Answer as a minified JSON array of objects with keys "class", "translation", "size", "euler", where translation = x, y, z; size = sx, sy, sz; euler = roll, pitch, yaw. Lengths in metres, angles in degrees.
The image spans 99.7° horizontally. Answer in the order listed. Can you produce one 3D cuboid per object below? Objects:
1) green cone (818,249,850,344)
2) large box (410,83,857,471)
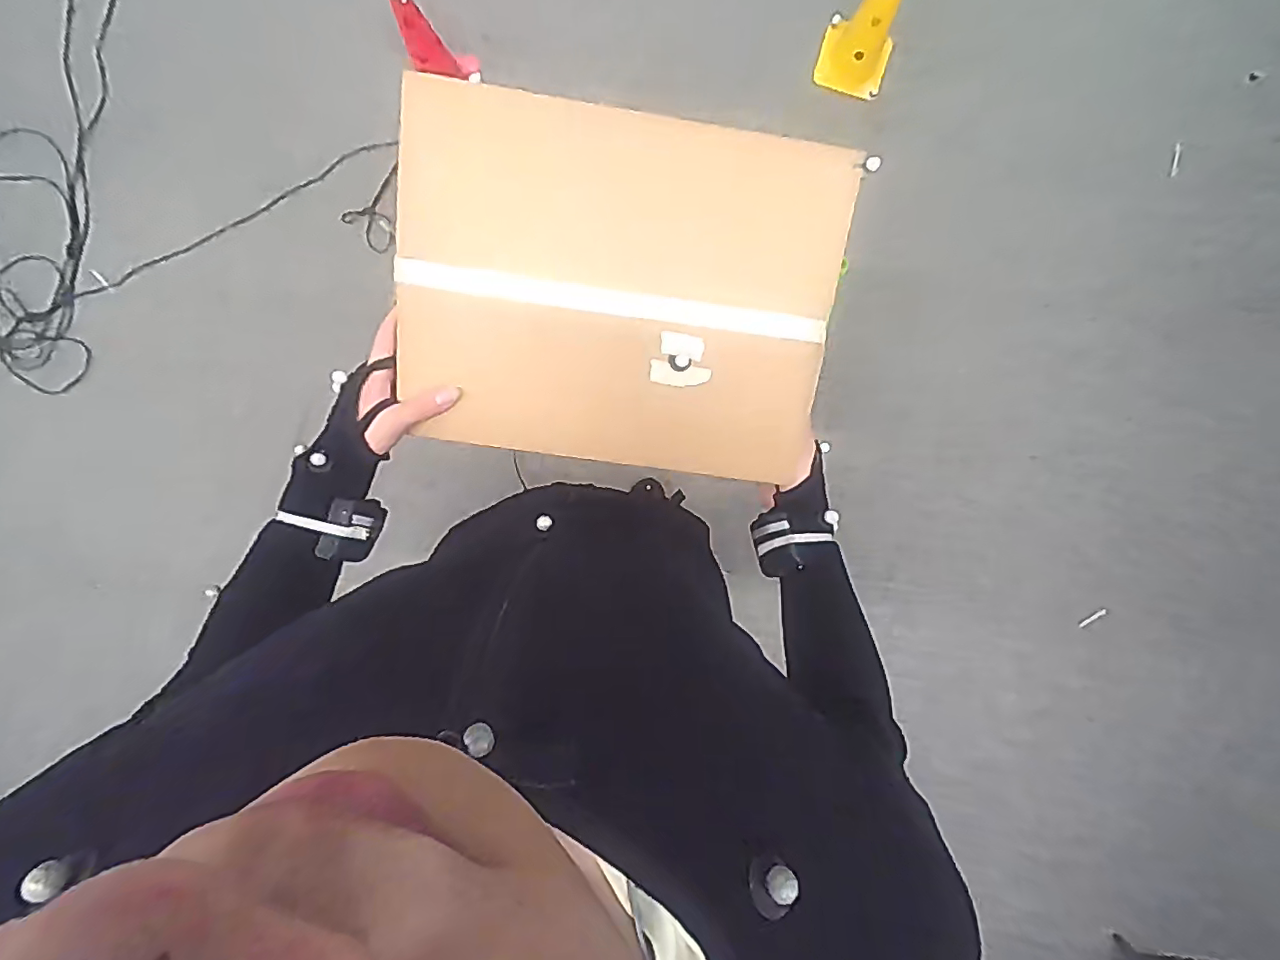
[{"class":"green cone","translation":[0.477,-0.521,1.455],"size":[0.200,0.368,0.202],"euler":[14,90,-1]},{"class":"large box","translation":[-0.024,-0.216,0.660],"size":[0.408,0.320,0.320],"euler":[7,107,-5]}]
